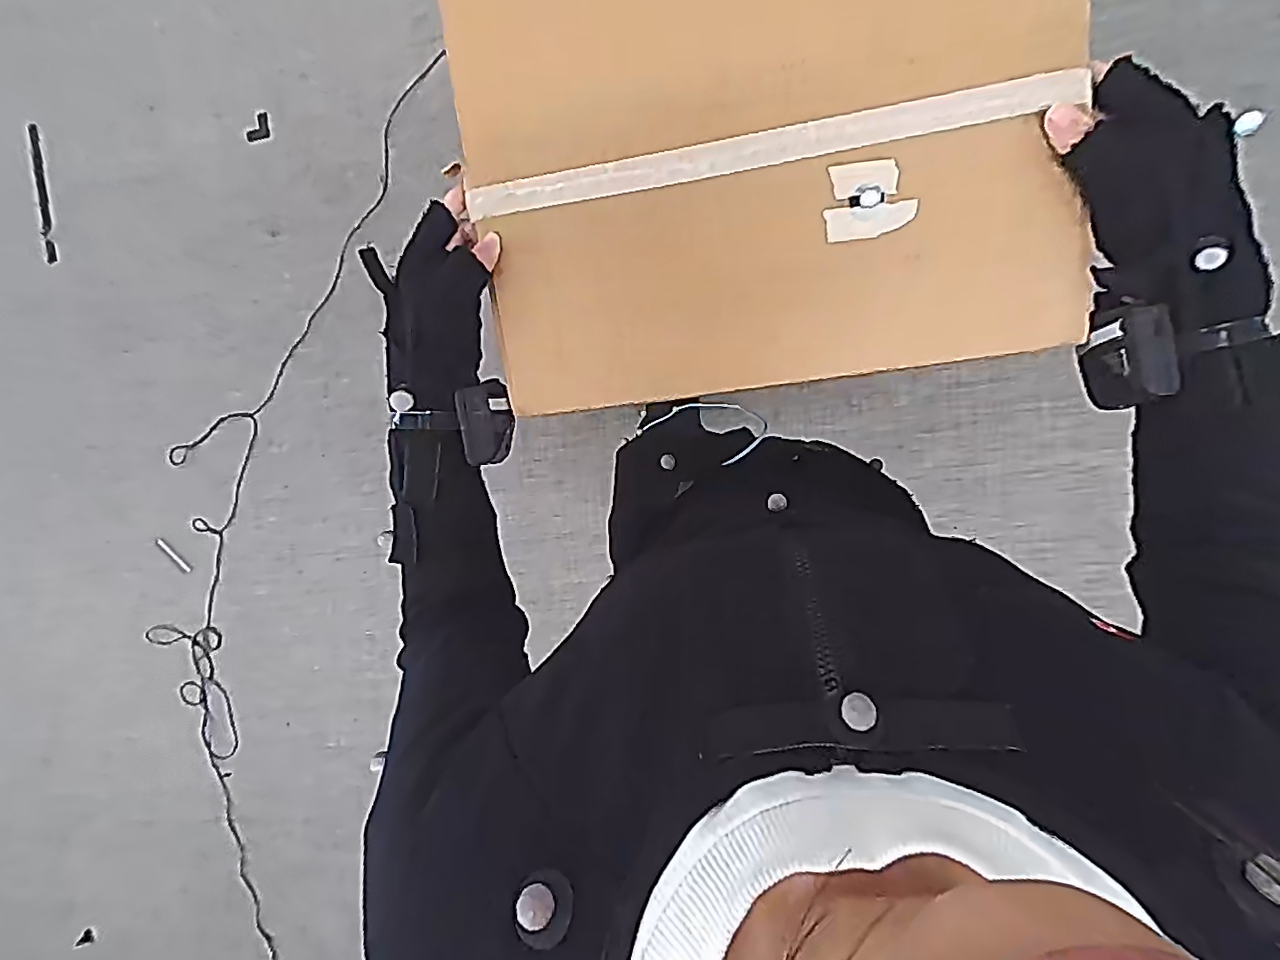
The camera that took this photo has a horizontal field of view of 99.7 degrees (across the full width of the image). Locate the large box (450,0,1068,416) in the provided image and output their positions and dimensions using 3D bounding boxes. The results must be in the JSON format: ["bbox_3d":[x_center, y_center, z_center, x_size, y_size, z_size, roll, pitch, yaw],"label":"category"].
[{"bbox_3d":[0.095,-0.252,0.524,0.408,0.320,0.320,-7,100,7],"label":"large box"}]
